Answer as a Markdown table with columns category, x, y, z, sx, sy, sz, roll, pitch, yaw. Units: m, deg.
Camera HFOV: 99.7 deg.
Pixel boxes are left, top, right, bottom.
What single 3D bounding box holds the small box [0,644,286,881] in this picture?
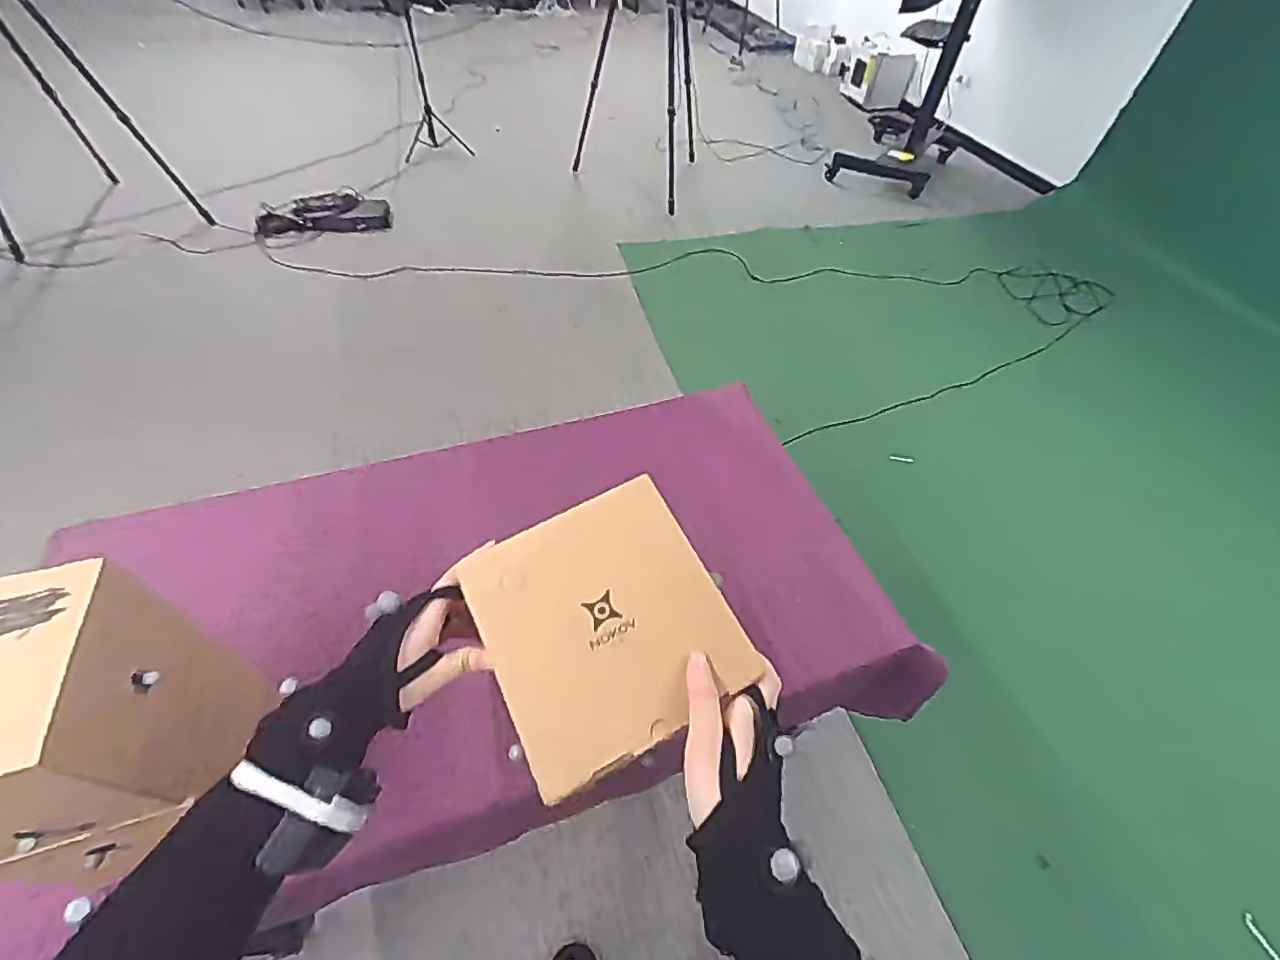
| category | x | y | z | sx | sy | sz | roll | pitch | yaw |
| --- | --- | --- | --- | --- | --- | --- | --- | --- | --- |
| small box | -0.524 | 0.310 | 0.590 | 0.179 | 0.176 | 0.168 | -12 | 53 | -15 |

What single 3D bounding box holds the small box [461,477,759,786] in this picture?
| category | x | y | z | sx | sy | sz | roll | pitch | yaw |
| --- | --- | --- | --- | --- | --- | --- | --- | --- | --- |
| small box | -0.029 | 0.132 | 0.461 | 0.168 | 0.176 | 0.179 | -25 | 66 | -13 |
